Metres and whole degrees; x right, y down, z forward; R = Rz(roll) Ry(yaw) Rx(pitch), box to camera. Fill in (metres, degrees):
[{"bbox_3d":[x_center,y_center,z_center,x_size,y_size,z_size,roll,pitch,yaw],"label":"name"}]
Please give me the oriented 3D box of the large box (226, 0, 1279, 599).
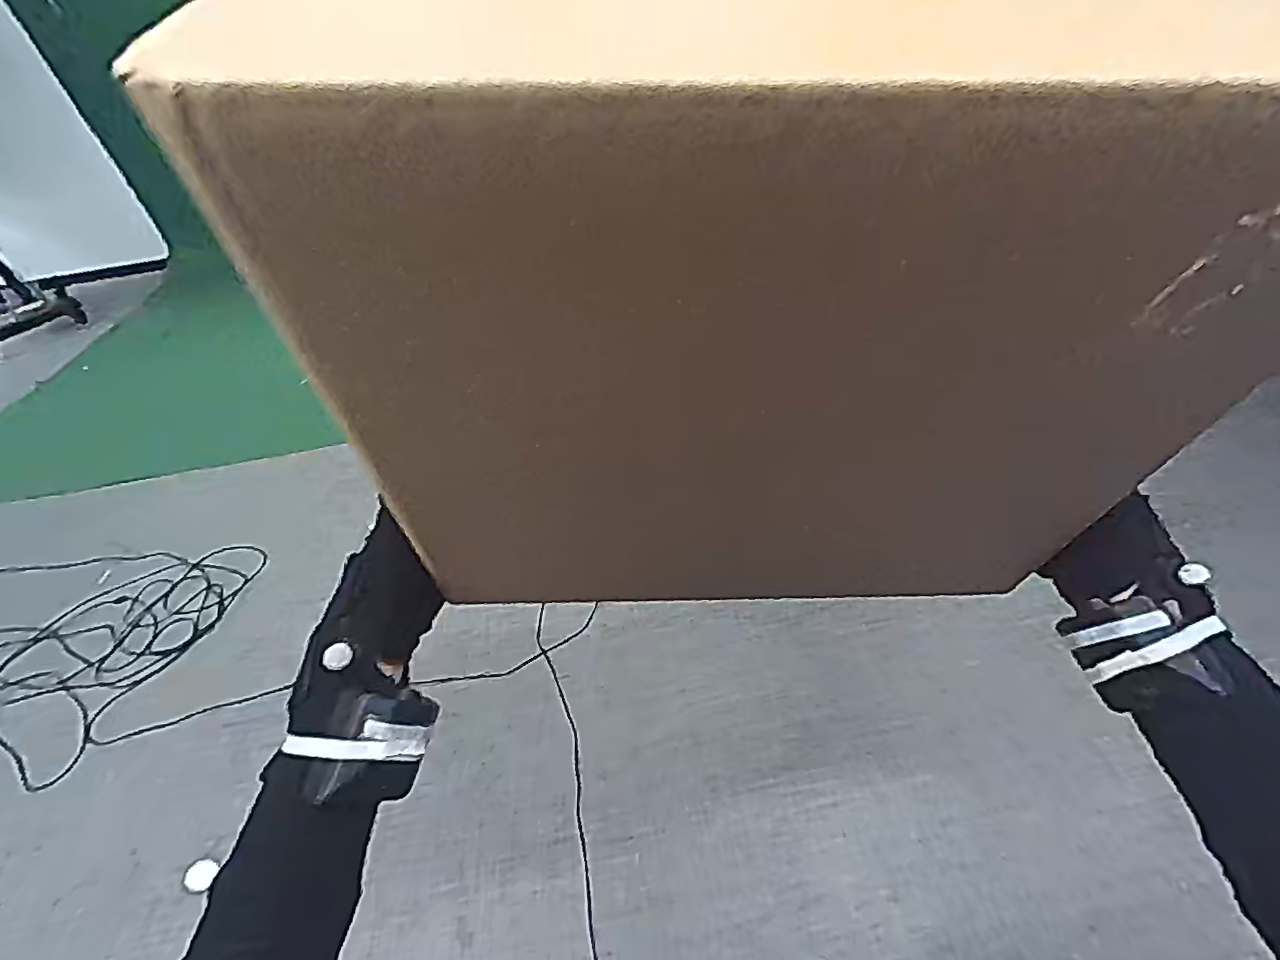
[{"bbox_3d":[0.070,-0.131,0.364,0.408,0.320,0.320,-1,52,-3],"label":"large box"}]
